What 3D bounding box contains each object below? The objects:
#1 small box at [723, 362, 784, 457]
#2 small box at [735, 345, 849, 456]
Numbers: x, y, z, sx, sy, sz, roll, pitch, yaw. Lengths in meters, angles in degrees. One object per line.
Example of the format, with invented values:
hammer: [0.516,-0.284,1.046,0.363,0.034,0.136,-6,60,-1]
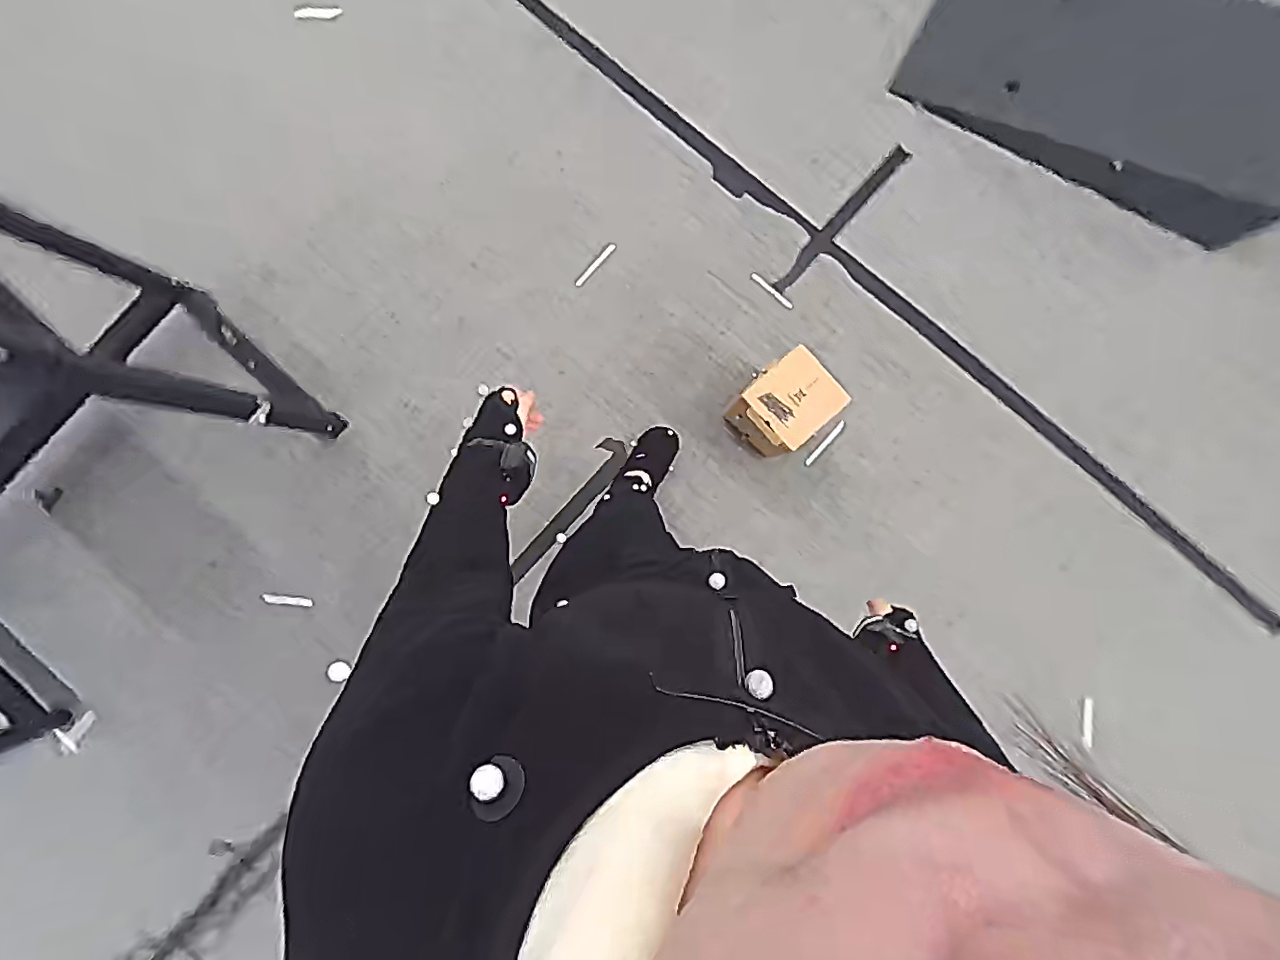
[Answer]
small box: [0.336,-0.174,1.395,0.179,0.176,0.168,44,90,1]
small box: [0.332,-0.170,1.230,0.179,0.176,0.168,-41,89,0]
